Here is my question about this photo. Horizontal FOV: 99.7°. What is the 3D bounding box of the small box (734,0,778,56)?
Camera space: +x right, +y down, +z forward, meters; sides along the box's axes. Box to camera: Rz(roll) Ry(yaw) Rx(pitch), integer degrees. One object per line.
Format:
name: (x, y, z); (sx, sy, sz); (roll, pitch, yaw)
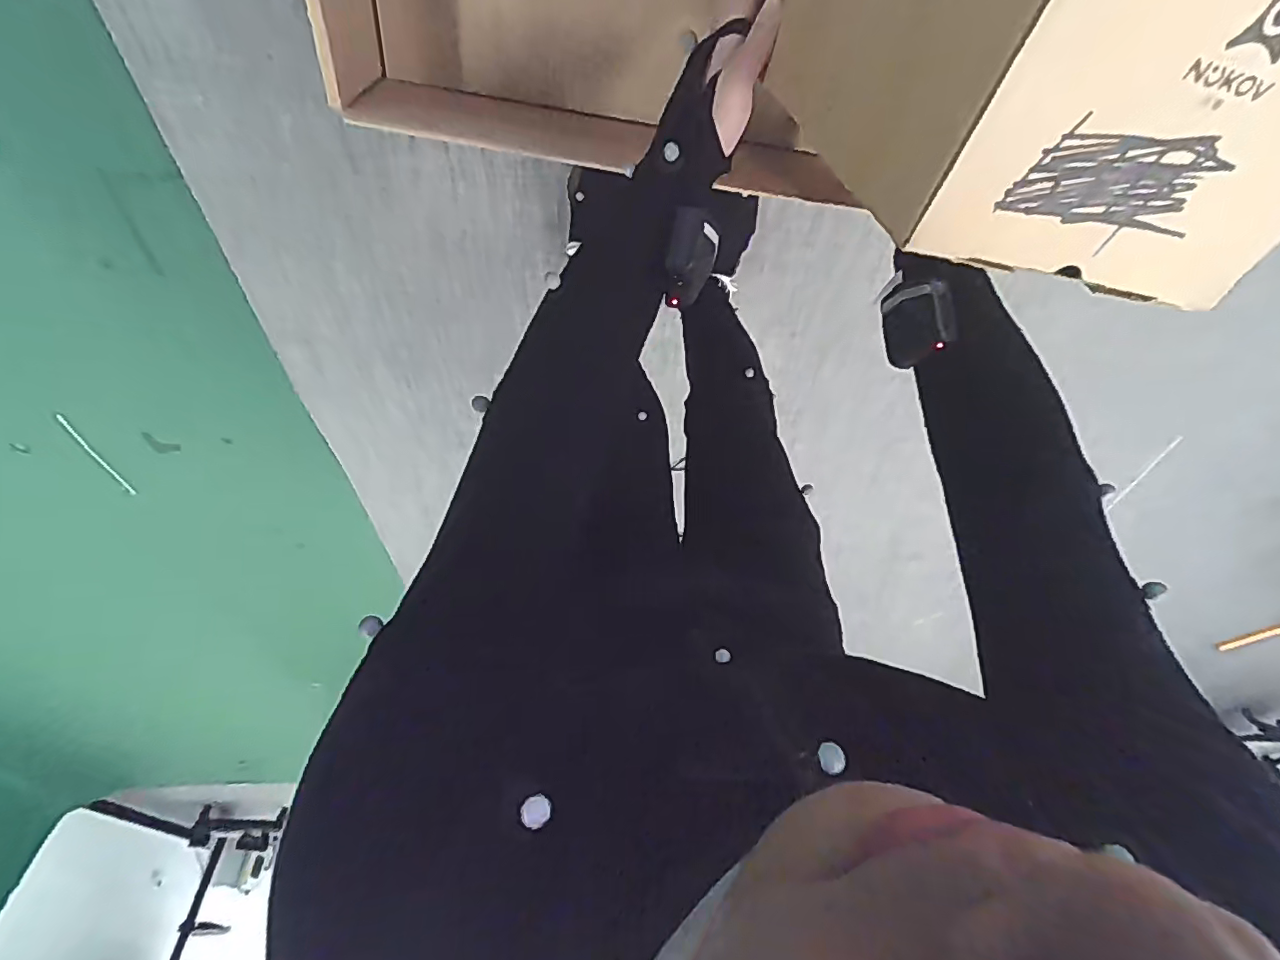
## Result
small box: (0.190, -0.450, 0.448); (0.168, 0.176, 0.179); (7, 135, -11)

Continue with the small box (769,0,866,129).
small box: (0.198, -0.328, 0.342); (0.168, 0.176, 0.179); (6, 137, -12)

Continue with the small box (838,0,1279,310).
small box: (0.209, -0.205, 0.234); (0.168, 0.176, 0.179); (6, 135, -11)
